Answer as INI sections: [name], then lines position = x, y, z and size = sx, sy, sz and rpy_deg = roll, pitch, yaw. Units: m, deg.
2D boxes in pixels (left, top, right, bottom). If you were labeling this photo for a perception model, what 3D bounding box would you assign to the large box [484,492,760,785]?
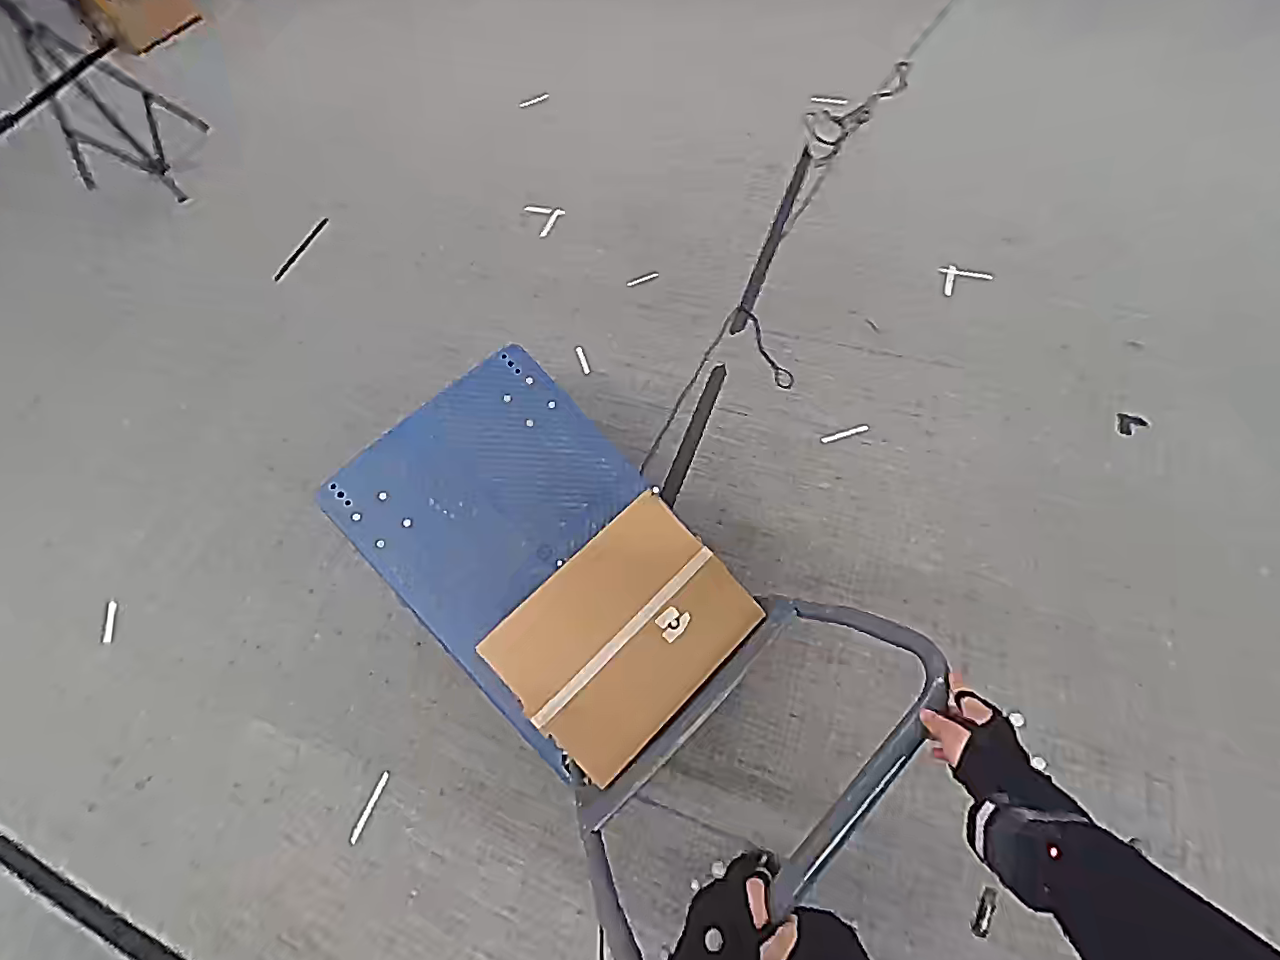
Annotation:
[large box]
position = -0.045, 0.294, 1.081
size = 0.408, 0.320, 0.320
rpy_deg = -43, 88, -15
